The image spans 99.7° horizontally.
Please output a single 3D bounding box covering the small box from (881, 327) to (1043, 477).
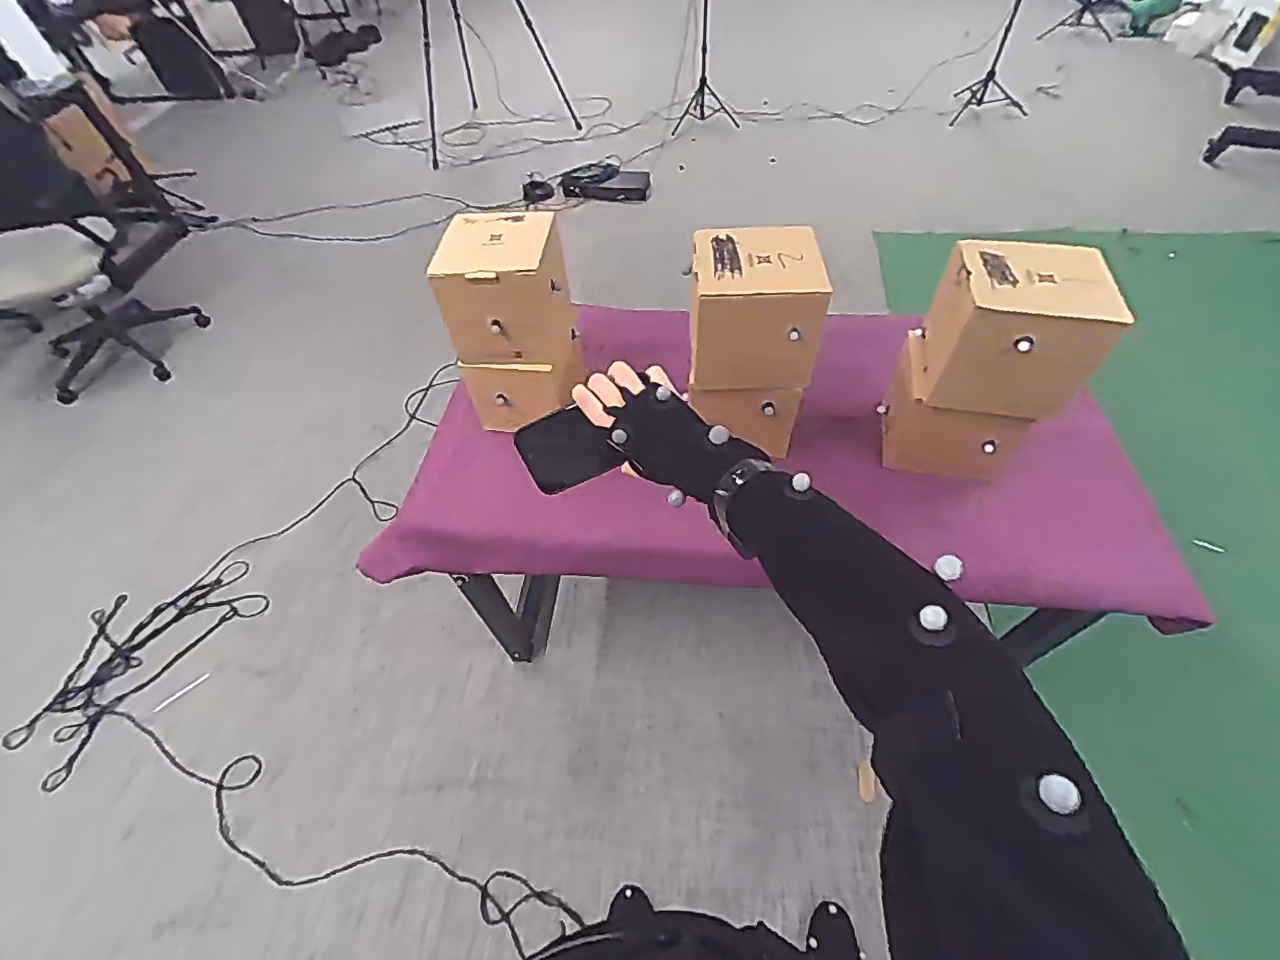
[{"bbox_3d":[0.511,-0.124,0.886,0.179,0.176,0.168,9,53,12],"label":"small box"}]

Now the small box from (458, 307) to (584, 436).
[{"bbox_3d":[-0.207,-0.200,1.003,0.168,0.176,0.179,4,53,8],"label":"small box"}]

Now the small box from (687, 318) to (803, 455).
[{"bbox_3d":[0.177,-0.159,0.938,0.179,0.176,0.168,4,53,8],"label":"small box"}]

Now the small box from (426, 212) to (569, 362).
[{"bbox_3d":[-0.217,-0.307,0.878,0.168,0.176,0.179,1,53,4],"label":"small box"}]

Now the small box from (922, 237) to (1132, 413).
[{"bbox_3d":[0.508,-0.212,0.747,0.179,0.176,0.168,9,53,11],"label":"small box"}]
